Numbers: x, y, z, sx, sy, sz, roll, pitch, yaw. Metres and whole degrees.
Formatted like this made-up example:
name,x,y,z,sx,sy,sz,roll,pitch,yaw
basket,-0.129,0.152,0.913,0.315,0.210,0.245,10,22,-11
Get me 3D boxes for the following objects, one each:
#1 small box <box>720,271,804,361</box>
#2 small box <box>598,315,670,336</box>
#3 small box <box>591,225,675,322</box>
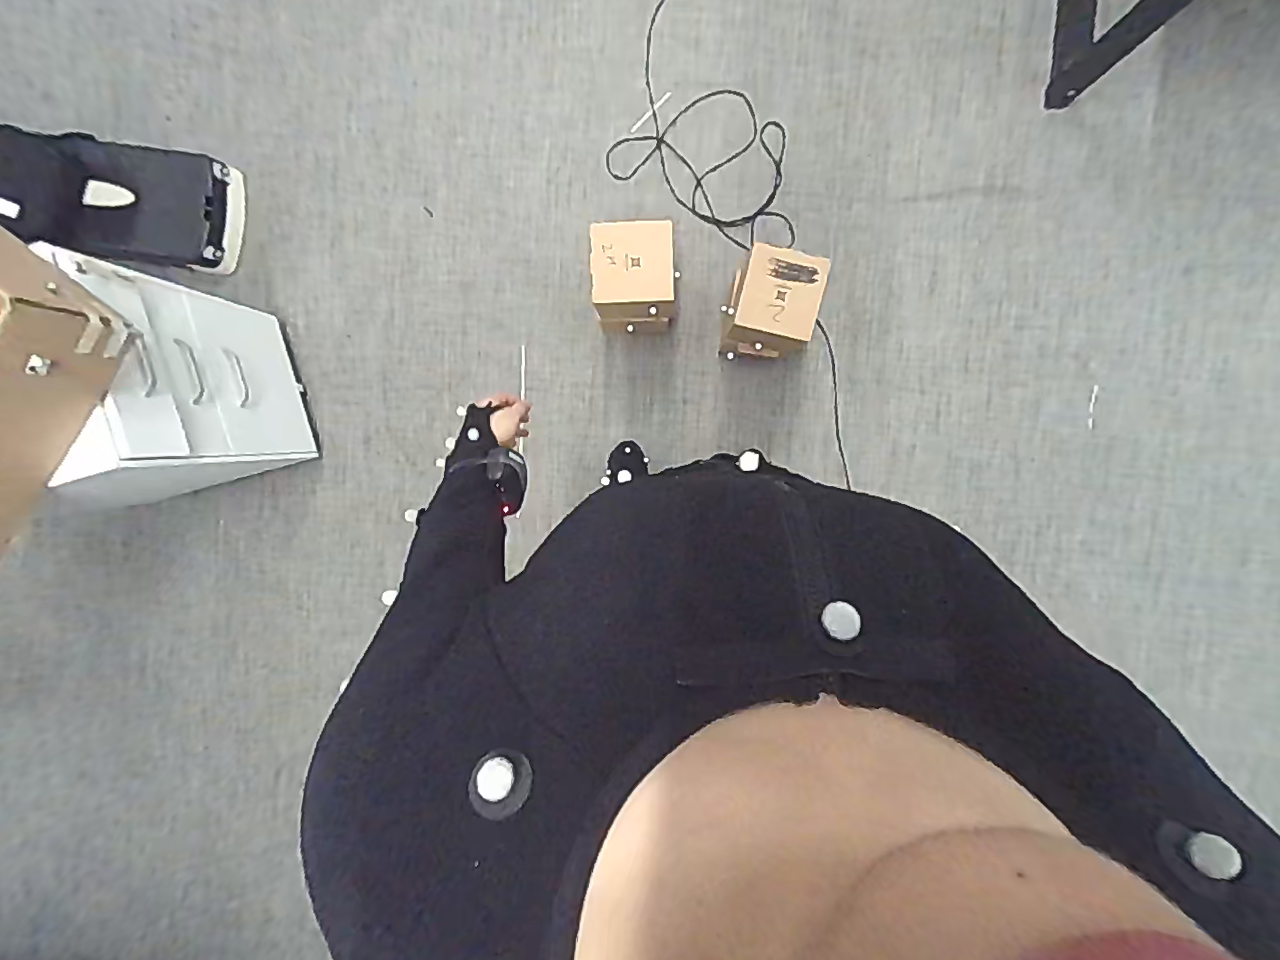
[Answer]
name,x,y,z,sx,sy,sz,roll,pitch,yaw
small box,0.300,-0.407,1.369,0.168,0.176,0.179,8,94,2
small box,-0.013,-0.465,1.380,0.179,0.176,0.168,0,95,3
small box,-0.012,-0.457,1.215,0.179,0.176,0.168,-1,94,4
